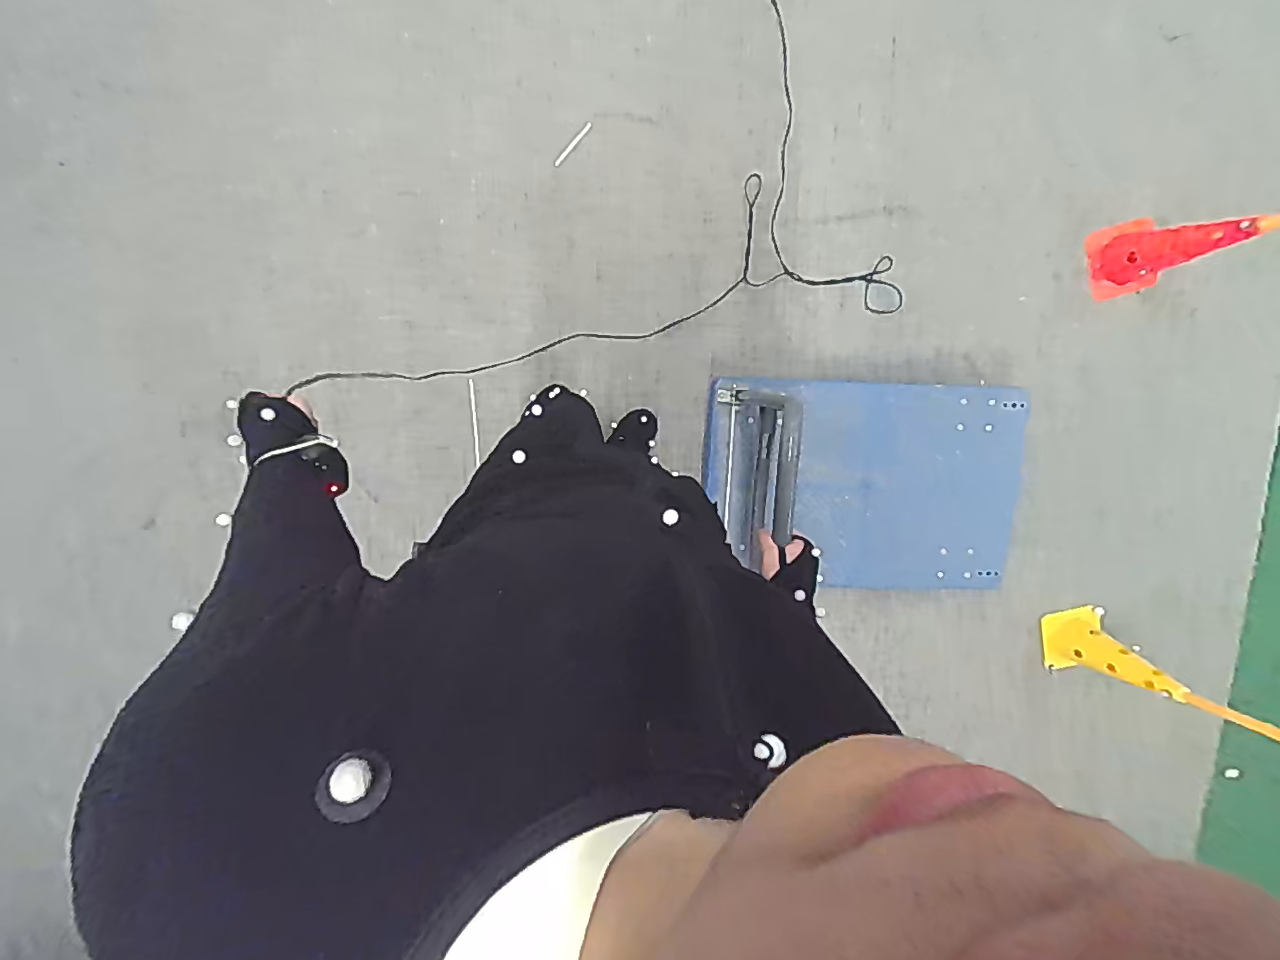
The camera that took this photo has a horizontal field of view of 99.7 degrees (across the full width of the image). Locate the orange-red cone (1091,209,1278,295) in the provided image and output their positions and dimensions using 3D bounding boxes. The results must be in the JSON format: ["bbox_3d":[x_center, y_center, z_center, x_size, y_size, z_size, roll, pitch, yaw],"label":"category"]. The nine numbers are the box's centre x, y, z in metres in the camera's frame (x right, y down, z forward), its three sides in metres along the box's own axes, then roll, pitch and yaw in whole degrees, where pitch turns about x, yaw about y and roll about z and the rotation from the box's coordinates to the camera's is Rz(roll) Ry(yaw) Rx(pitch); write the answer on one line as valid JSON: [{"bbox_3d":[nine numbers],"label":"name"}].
[{"bbox_3d":[1.429,-0.630,1.409,0.198,0.360,0.199,-16,99,-1],"label":"orange-red cone"}]
